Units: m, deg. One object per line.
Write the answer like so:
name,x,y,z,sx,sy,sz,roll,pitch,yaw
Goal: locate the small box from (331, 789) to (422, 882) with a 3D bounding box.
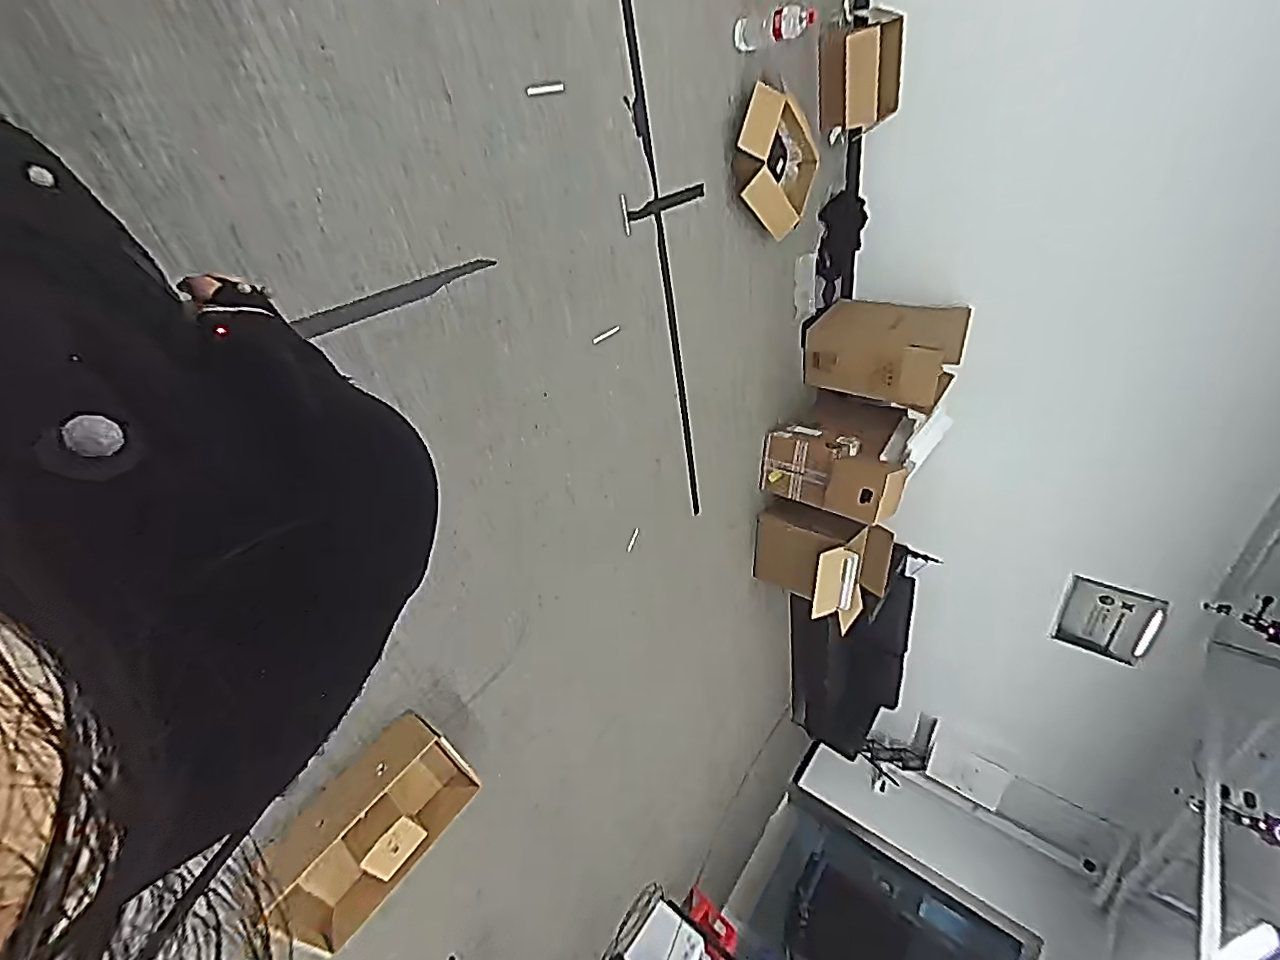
small box,-0.852,1.146,1.752,0.168,0.176,0.179,-46,137,-32
